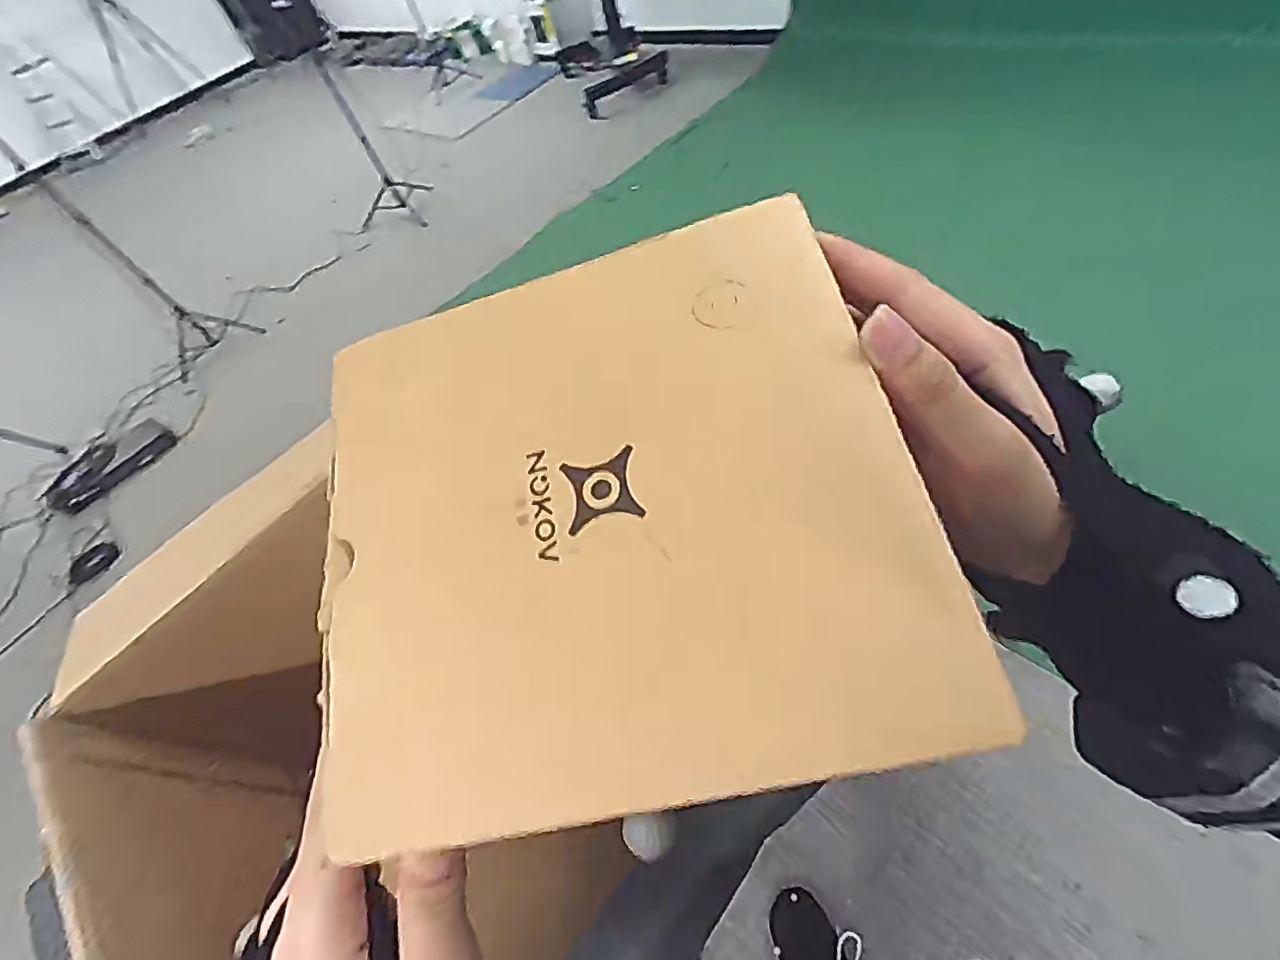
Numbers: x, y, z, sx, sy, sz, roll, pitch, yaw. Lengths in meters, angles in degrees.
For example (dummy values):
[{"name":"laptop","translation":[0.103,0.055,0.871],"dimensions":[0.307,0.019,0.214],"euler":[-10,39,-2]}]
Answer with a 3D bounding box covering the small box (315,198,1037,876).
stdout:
[{"name":"small box","translation":[0.006,0.032,0.226],"dimensions":[0.179,0.176,0.168],"euler":[-15,67,9]}]
